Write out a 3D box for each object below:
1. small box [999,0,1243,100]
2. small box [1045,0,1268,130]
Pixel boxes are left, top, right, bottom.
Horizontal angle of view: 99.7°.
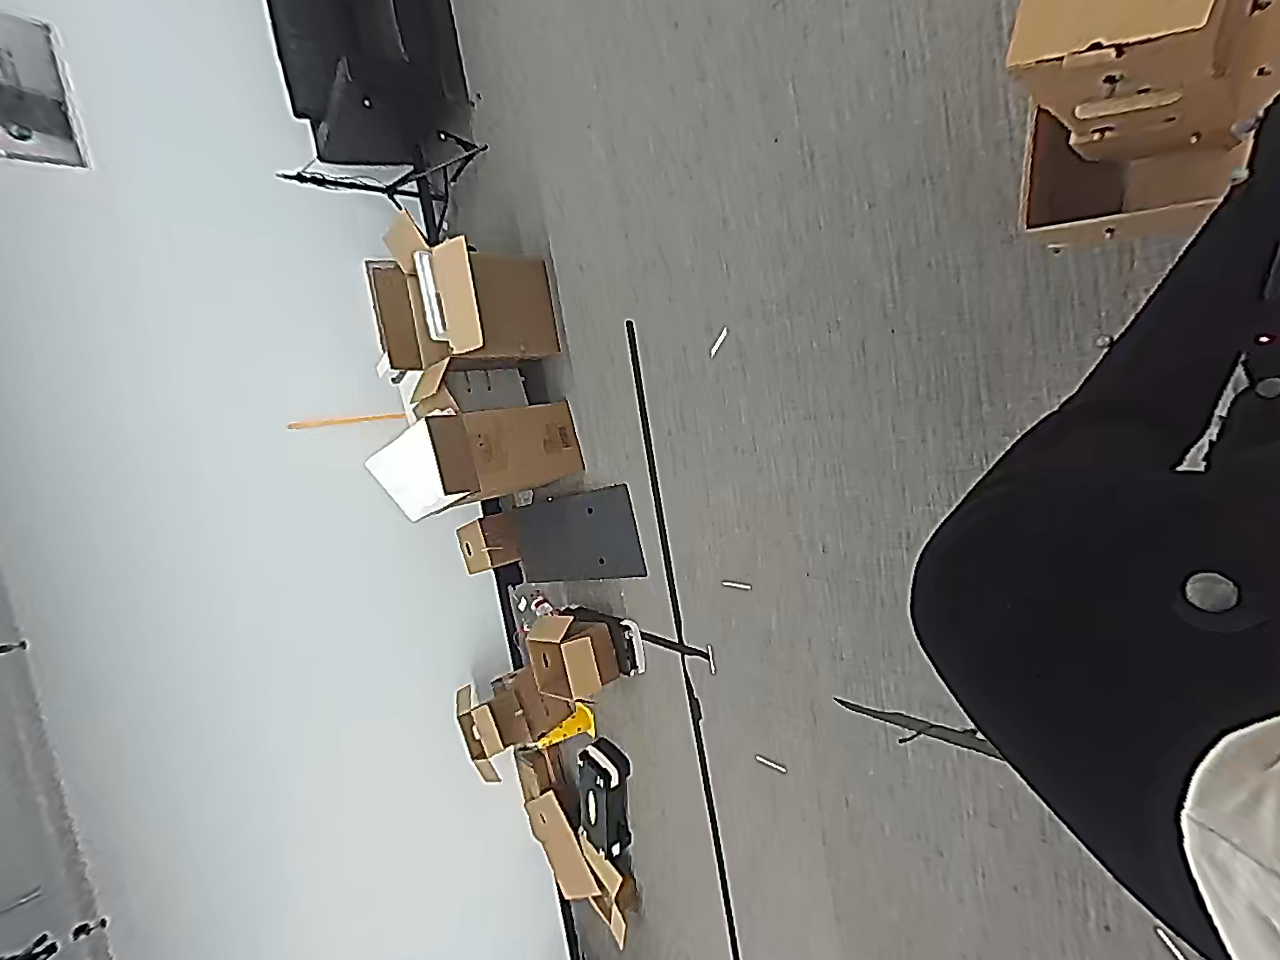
[{"bbox_3d":[0.520,-0.524,0.567,0.168,0.176,0.179,27,120,44],"label":"small box"},{"bbox_3d":[0.644,-0.557,0.670,0.168,0.176,0.179,22,115,46],"label":"small box"}]
